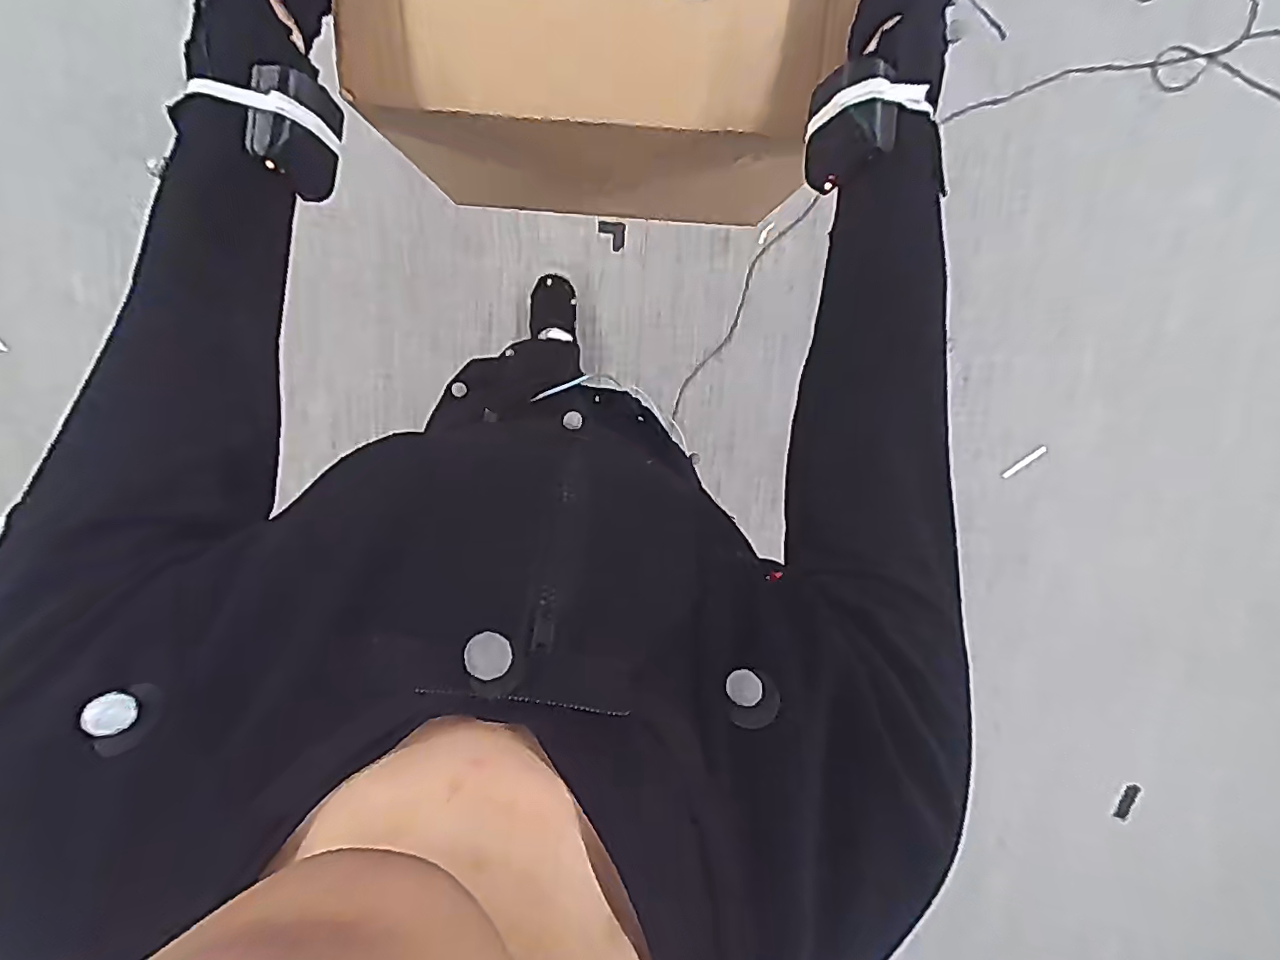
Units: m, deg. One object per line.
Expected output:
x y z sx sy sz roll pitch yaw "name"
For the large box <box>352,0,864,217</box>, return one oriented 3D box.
-0.028 -0.476 0.546 0.408 0.320 0.320 2 104 -4 "large box"
